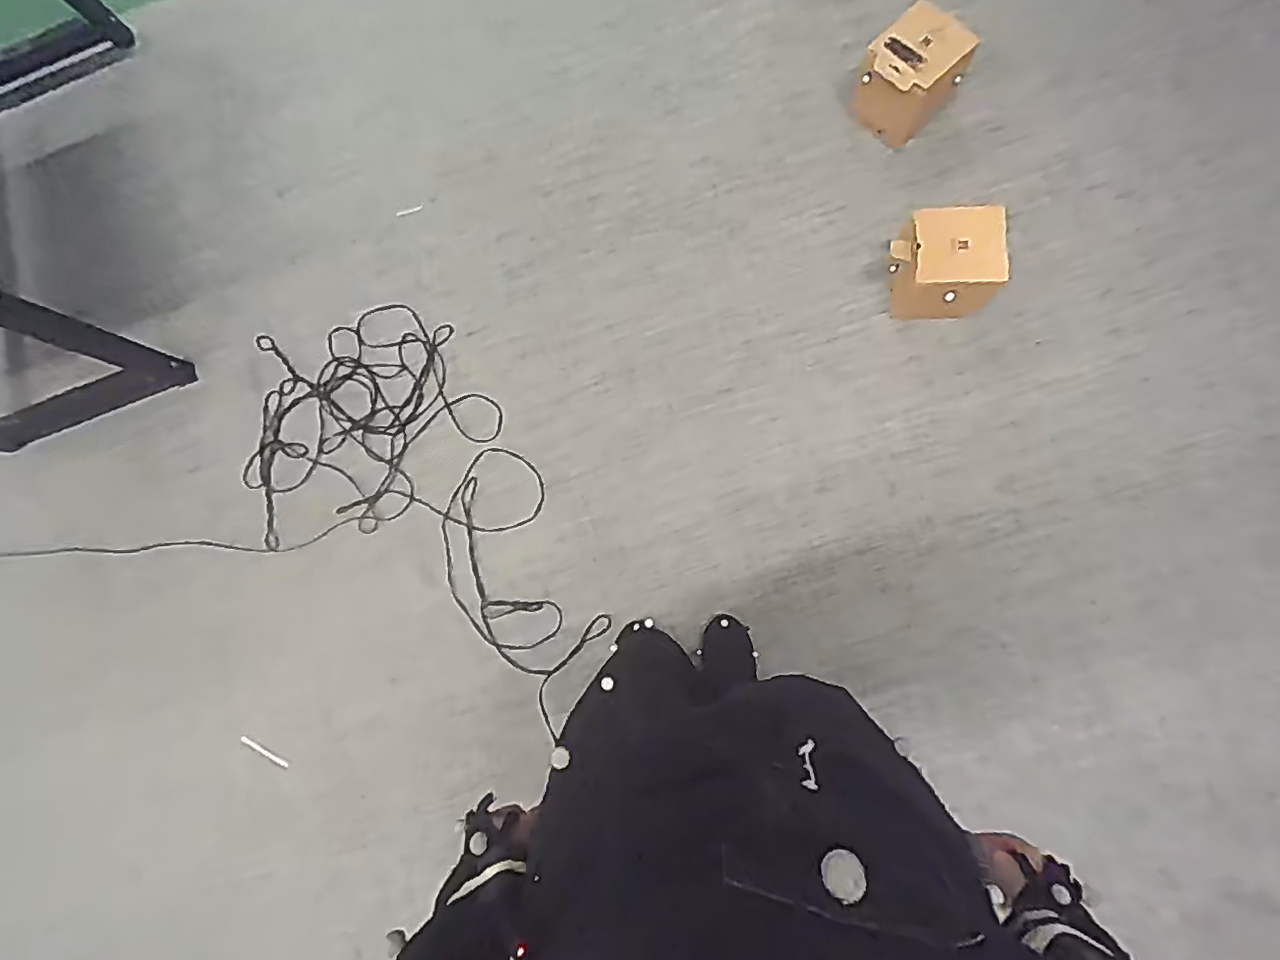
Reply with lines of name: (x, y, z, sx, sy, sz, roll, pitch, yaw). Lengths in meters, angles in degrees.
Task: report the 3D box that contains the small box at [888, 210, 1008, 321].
small box: (0.656, -0.456, 1.169, 0.179, 0.176, 0.168, 1, 82, 7)
